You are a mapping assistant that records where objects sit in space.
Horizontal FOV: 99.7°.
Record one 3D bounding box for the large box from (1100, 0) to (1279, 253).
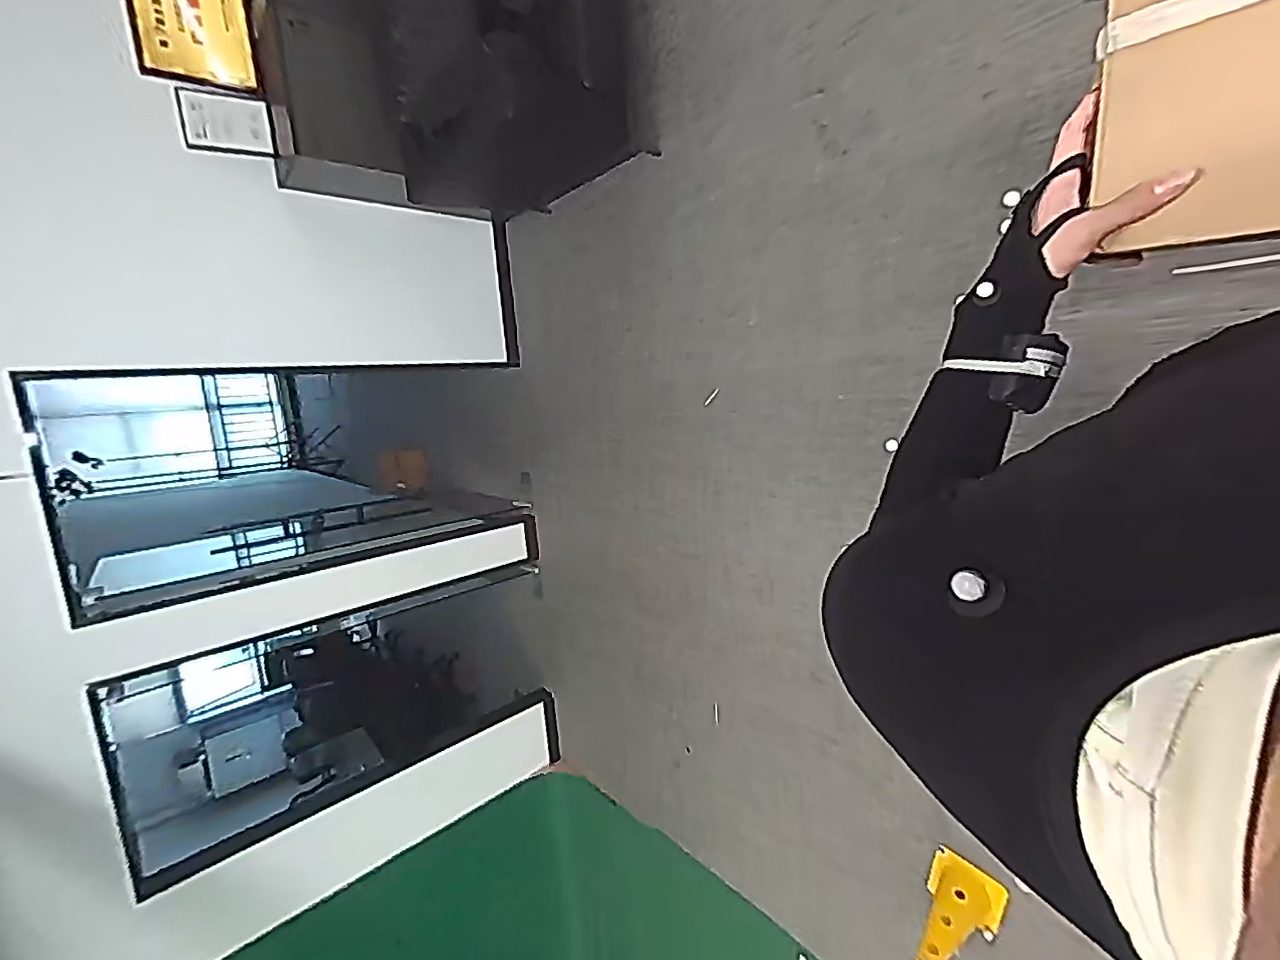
[{"bbox_3d":[0.610,-0.352,0.363,0.408,0.320,0.320,12,114,48],"label":"large box"}]
